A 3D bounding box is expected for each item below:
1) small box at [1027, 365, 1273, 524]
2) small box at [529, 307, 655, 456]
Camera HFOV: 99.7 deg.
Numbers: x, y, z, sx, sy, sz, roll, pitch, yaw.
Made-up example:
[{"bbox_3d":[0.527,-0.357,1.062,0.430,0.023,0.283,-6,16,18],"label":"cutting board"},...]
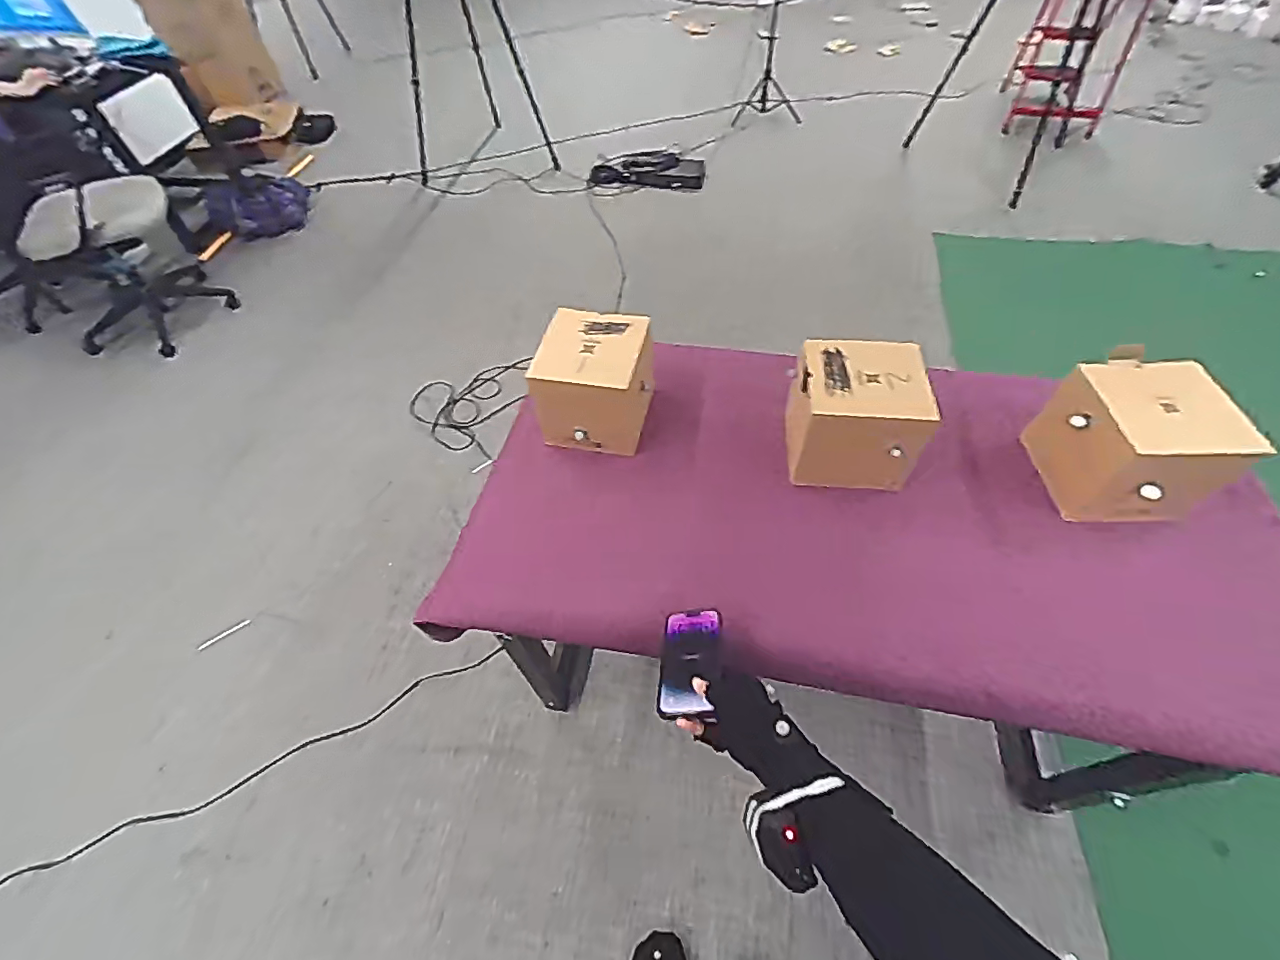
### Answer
[{"bbox_3d":[0.721,-0.046,0.796,0.168,0.176,0.179,-1,52,4],"label":"small box"},{"bbox_3d":[-0.072,-0.168,0.931,0.168,0.176,0.179,9,56,10],"label":"small box"}]
